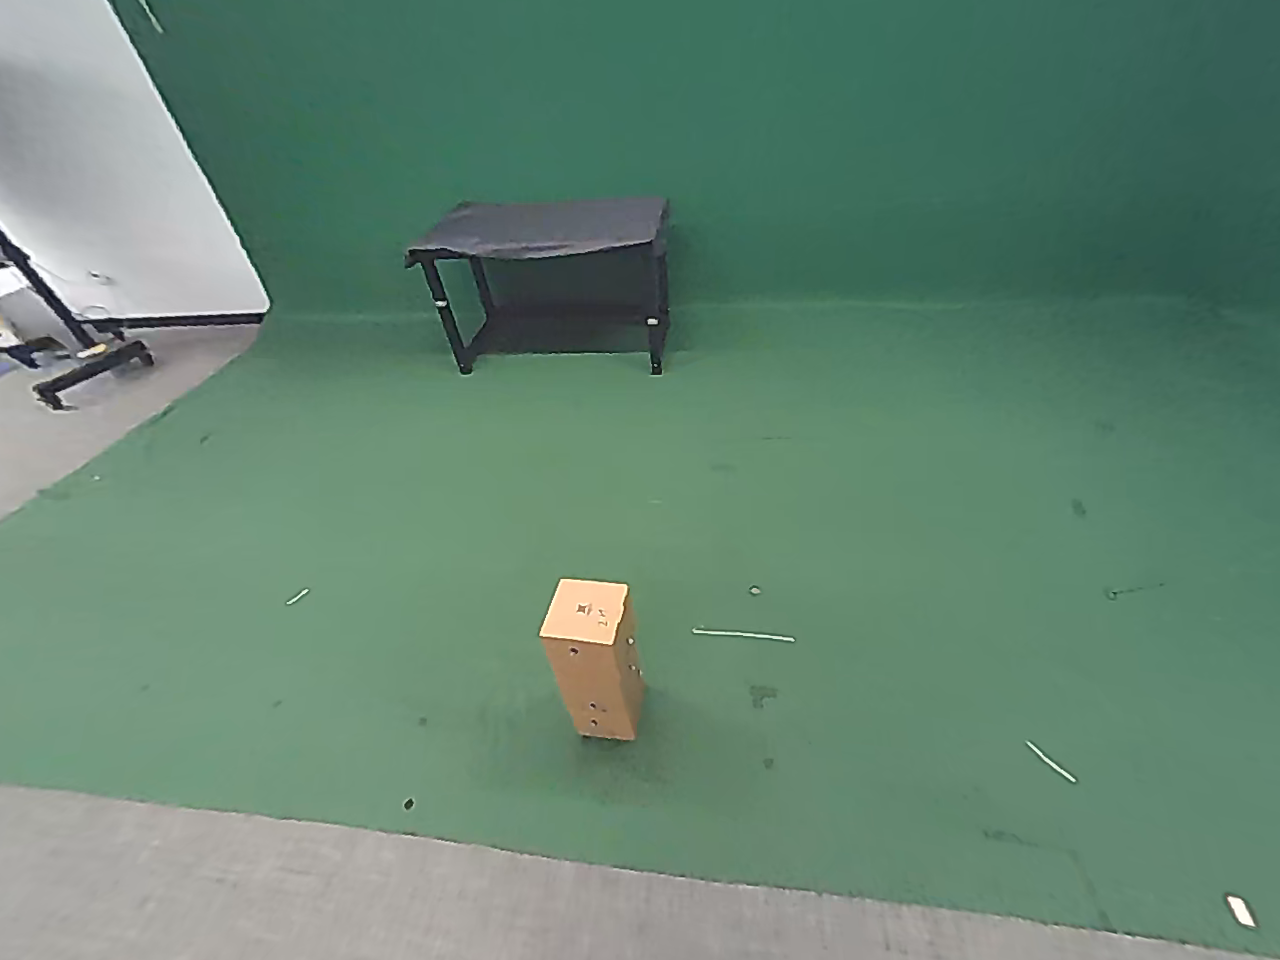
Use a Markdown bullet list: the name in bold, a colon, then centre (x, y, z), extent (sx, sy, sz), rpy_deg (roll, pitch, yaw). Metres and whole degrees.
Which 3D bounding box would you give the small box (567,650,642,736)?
- **small box**: centre (-0.092, 0.593, 1.516), extent (0.168, 0.176, 0.179), rpy_deg (2, 41, 10)

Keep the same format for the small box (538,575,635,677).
- **small box**: centre (-0.120, 0.351, 1.294), extent (0.179, 0.176, 0.168), rpy_deg (4, 43, 12)
